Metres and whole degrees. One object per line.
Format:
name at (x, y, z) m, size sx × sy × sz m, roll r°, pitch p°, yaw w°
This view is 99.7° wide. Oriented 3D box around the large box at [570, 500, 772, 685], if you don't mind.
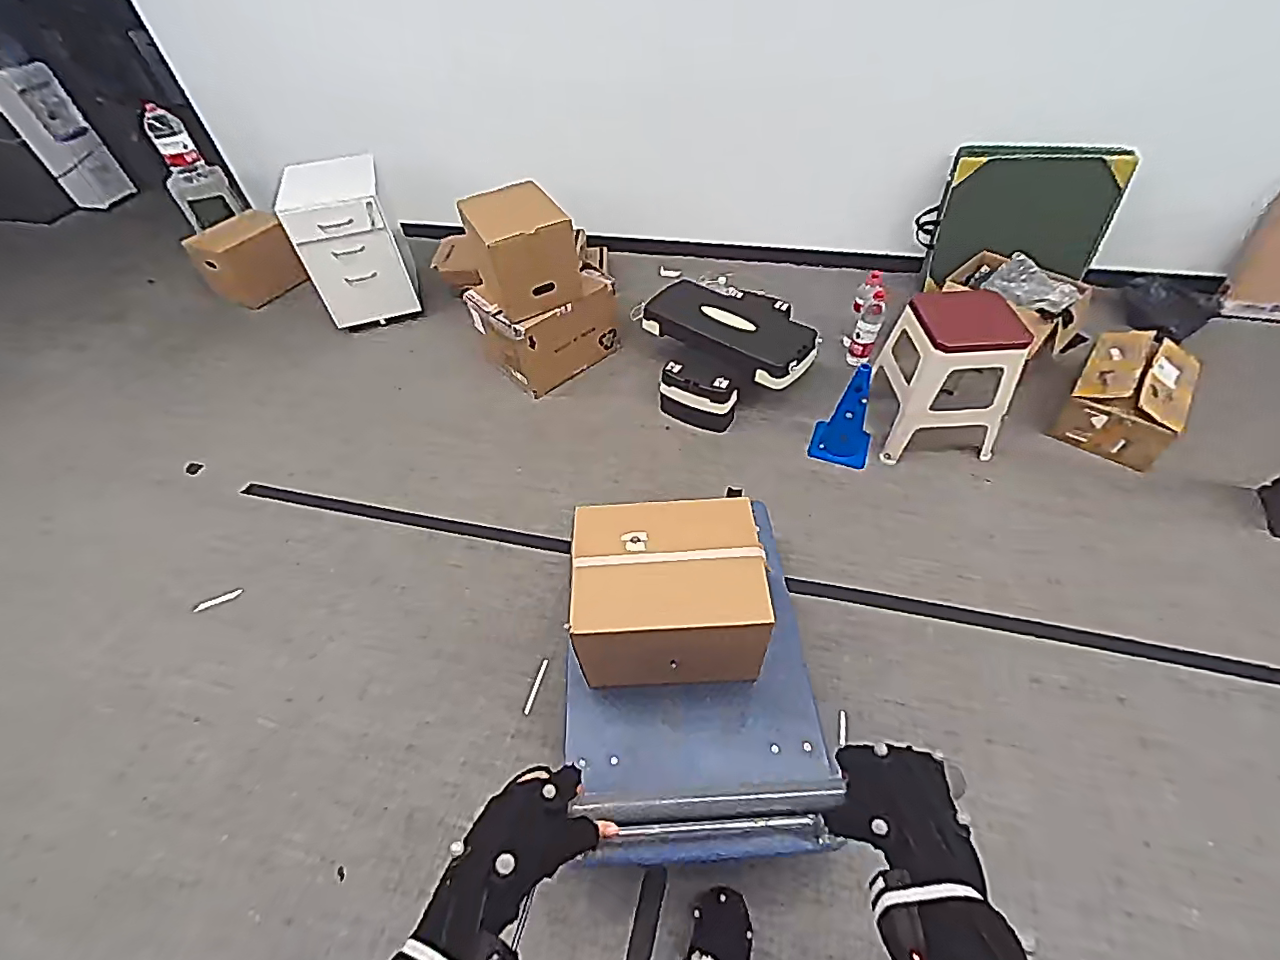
large box at (0.065, 0.271, 1.267) m, size 0.408 × 0.320 × 0.320 m, roll -4°, pitch 50°, yaw 2°
